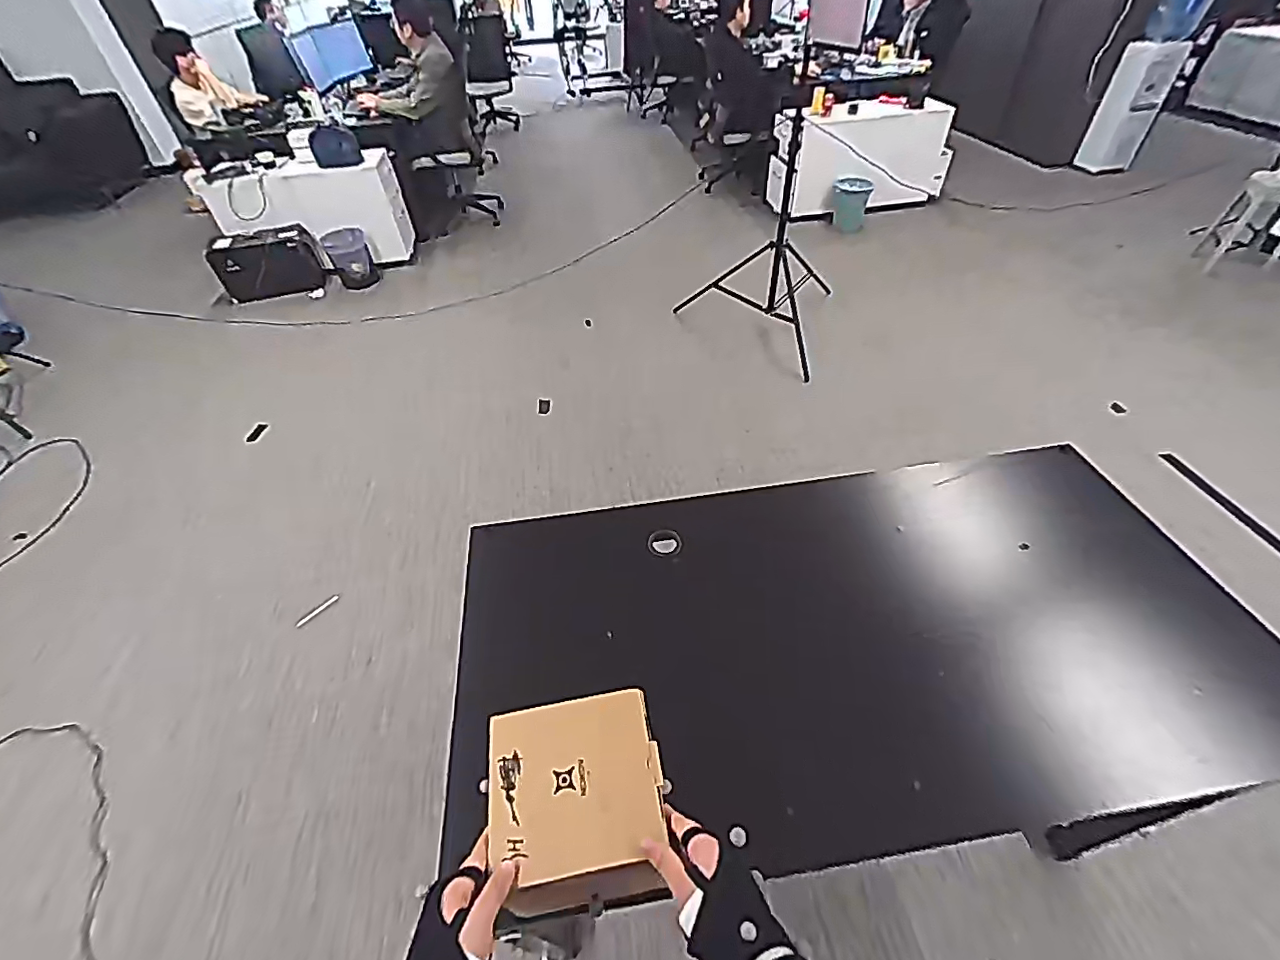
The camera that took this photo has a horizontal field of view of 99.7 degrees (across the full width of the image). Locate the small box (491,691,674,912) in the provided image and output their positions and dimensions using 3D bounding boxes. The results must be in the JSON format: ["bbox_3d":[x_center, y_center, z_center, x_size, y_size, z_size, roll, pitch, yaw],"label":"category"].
[{"bbox_3d":[-0.064,0.367,0.618,0.179,0.176,0.168,-8,45,-6],"label":"small box"}]
